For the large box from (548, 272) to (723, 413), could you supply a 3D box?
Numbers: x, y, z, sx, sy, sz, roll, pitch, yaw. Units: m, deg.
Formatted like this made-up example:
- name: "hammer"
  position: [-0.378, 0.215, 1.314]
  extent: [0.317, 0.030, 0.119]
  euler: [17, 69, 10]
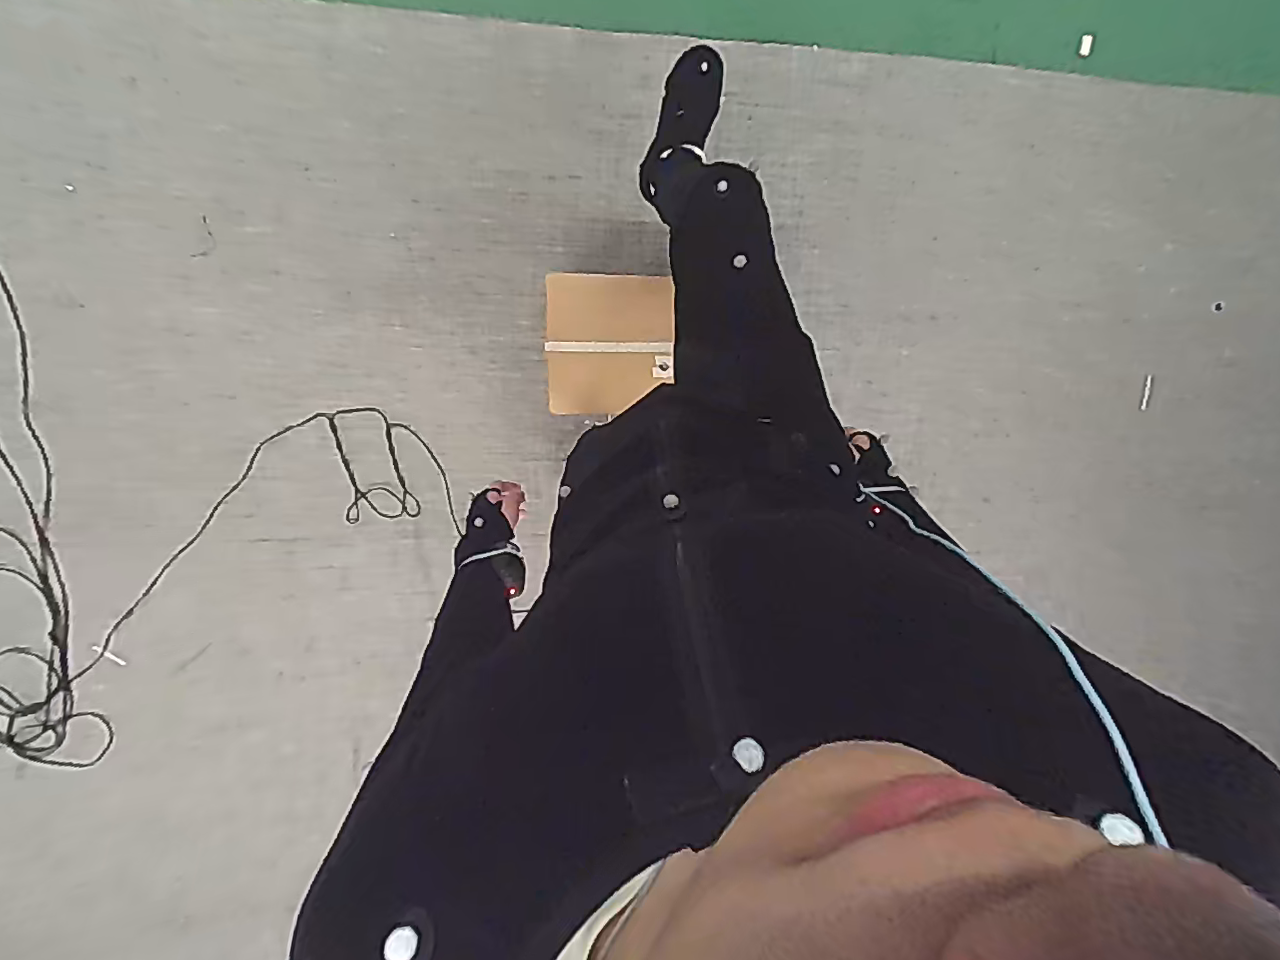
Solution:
- name: "large box"
  position: [-0.023, -0.343, 1.394]
  extent: [0.408, 0.320, 0.320]
  euler: [-2, 101, -7]
